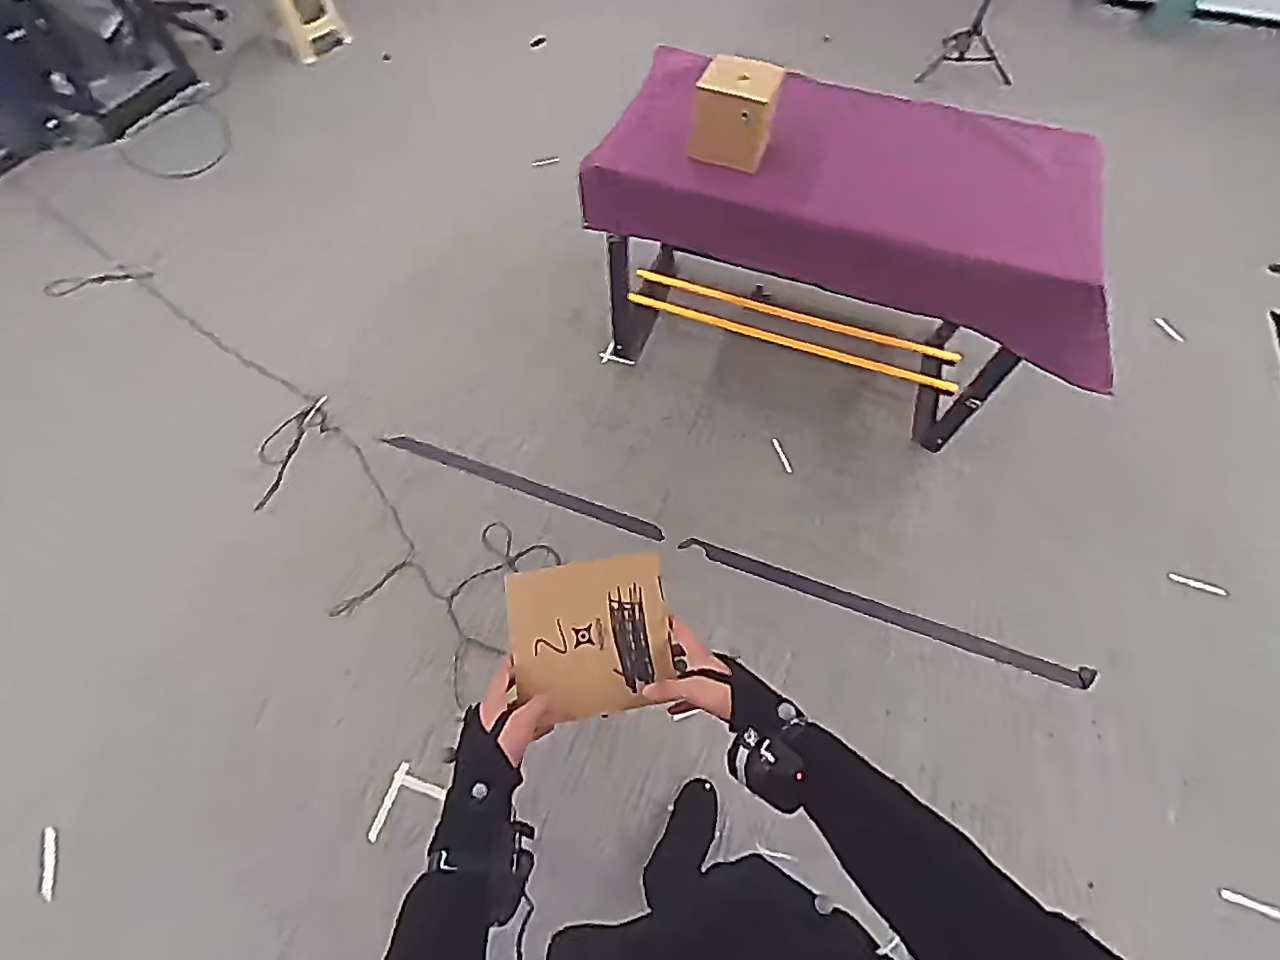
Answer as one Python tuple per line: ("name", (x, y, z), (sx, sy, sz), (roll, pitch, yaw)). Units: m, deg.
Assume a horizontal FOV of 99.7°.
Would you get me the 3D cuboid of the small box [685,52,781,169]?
("small box", (0.223, -0.899, 1.327), (0.179, 0.176, 0.168), (20, 63, 10))
